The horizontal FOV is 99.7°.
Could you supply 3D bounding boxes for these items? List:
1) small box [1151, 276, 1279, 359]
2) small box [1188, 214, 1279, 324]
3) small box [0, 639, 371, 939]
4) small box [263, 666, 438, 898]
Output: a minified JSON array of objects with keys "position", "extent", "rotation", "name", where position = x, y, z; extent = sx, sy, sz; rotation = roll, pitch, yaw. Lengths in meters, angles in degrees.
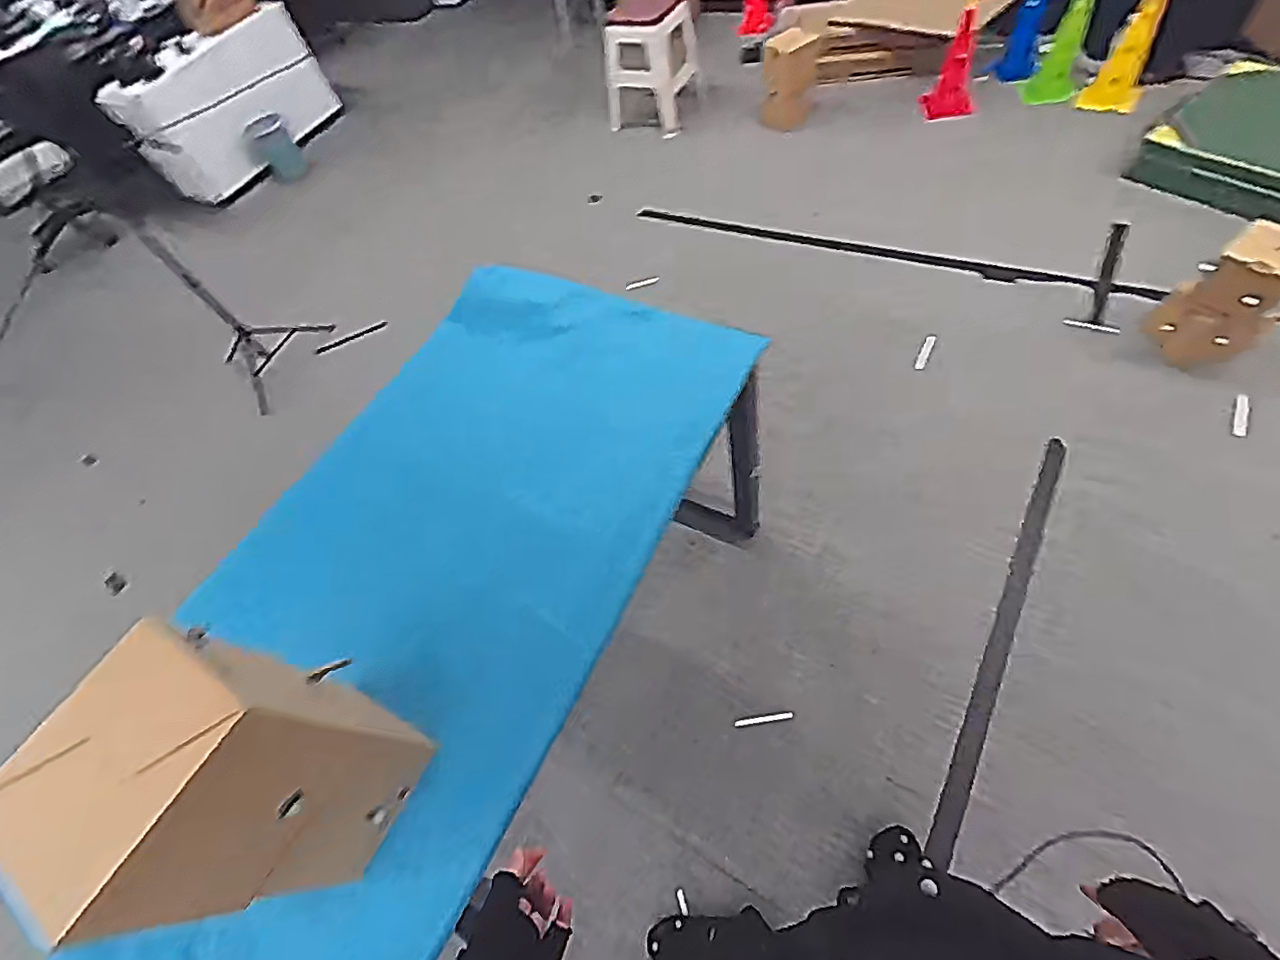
[{"position":[1.617,-0.465,1.536],"extent":[0.179,0.176,0.168],"rotation":[-8,58,7],"name":"small box"},{"position":[1.584,-0.536,1.389],"extent":[0.179,0.176,0.168],"rotation":[-37,61,-11],"name":"small box"},{"position":[-0.404,0.265,0.496],"extent":[0.168,0.176,0.179],"rotation":[22,66,24],"name":"small box"},{"position":[-0.384,0.349,0.640],"extent":[0.179,0.176,0.168],"rotation":[24,68,22],"name":"small box"}]
